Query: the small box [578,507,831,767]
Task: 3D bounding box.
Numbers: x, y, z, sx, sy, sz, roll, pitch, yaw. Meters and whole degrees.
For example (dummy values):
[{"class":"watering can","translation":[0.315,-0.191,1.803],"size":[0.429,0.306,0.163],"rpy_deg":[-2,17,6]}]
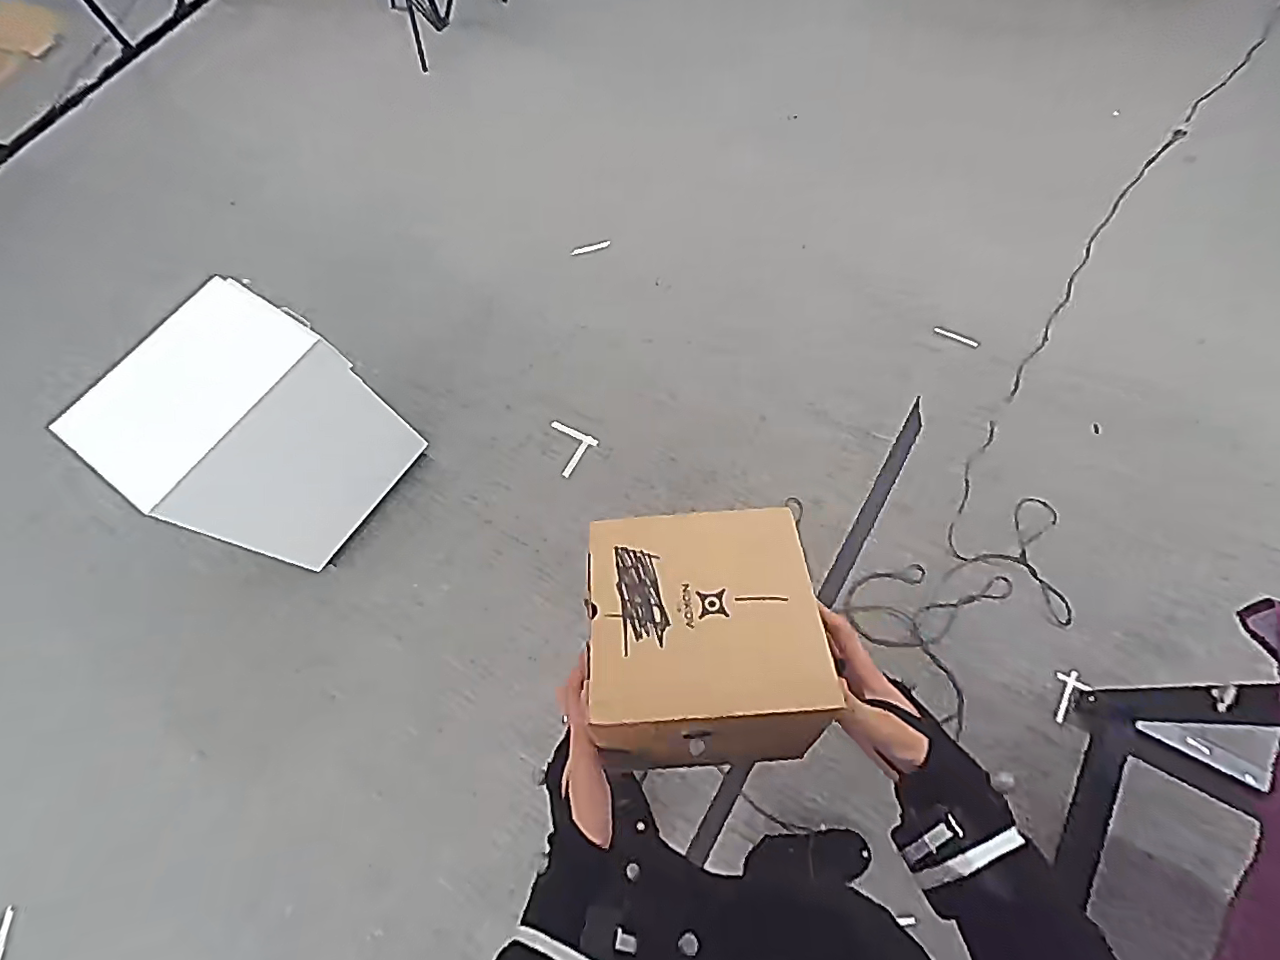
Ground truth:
[{"class":"small box","translation":[0.045,0.143,0.477],"size":[0.179,0.176,0.168],"rpy_deg":[-5,52,0]}]
